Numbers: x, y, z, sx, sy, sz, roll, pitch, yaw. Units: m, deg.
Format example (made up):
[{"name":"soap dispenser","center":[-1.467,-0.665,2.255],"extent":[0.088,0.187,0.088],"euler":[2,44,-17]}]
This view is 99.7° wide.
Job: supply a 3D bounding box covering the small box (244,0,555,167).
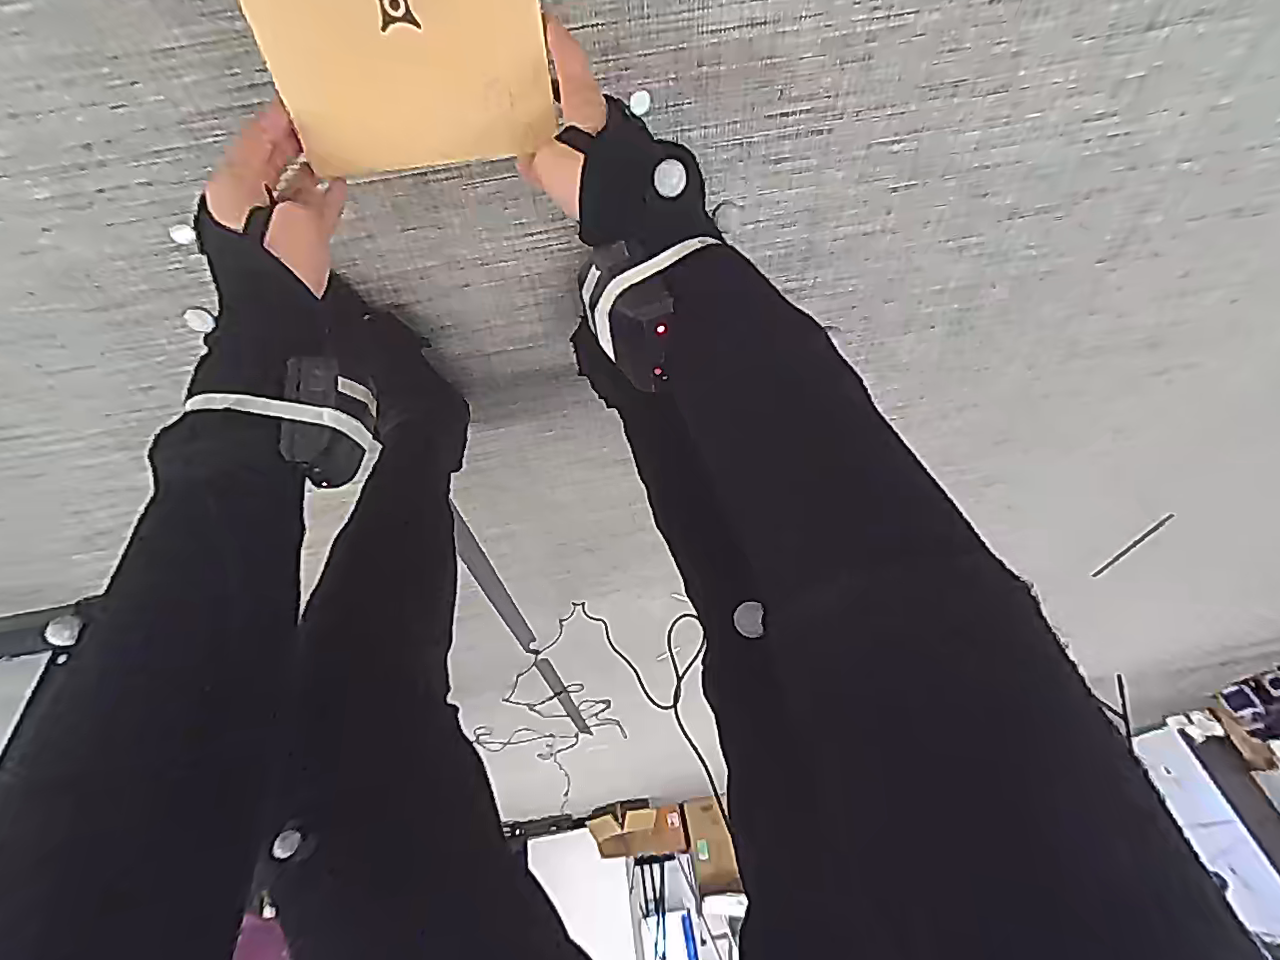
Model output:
[{"name":"small box","center":[-0.150,-0.335,0.360],"extent":[0.168,0.176,0.179],"euler":[-8,135,-4]}]
